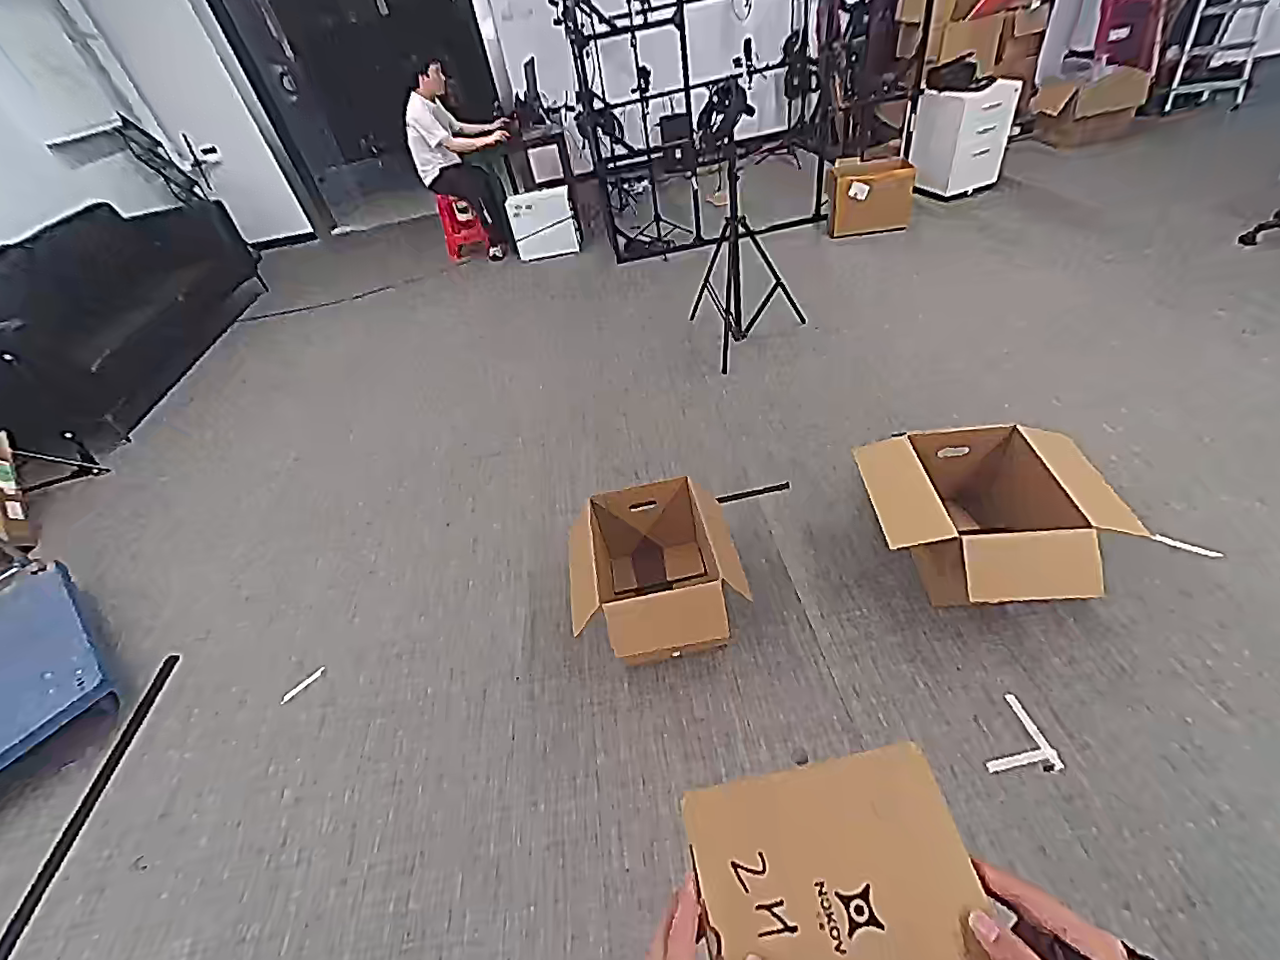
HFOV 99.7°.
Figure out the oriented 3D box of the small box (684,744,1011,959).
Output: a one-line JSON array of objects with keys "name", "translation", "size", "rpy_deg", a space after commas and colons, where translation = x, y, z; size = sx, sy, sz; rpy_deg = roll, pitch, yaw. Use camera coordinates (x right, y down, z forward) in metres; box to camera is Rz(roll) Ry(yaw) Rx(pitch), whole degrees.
[{"name": "small box", "translation": [0.135, 0.313, 0.405], "size": [0.179, 0.176, 0.168], "rpy_deg": [-12, 55, -1]}]
